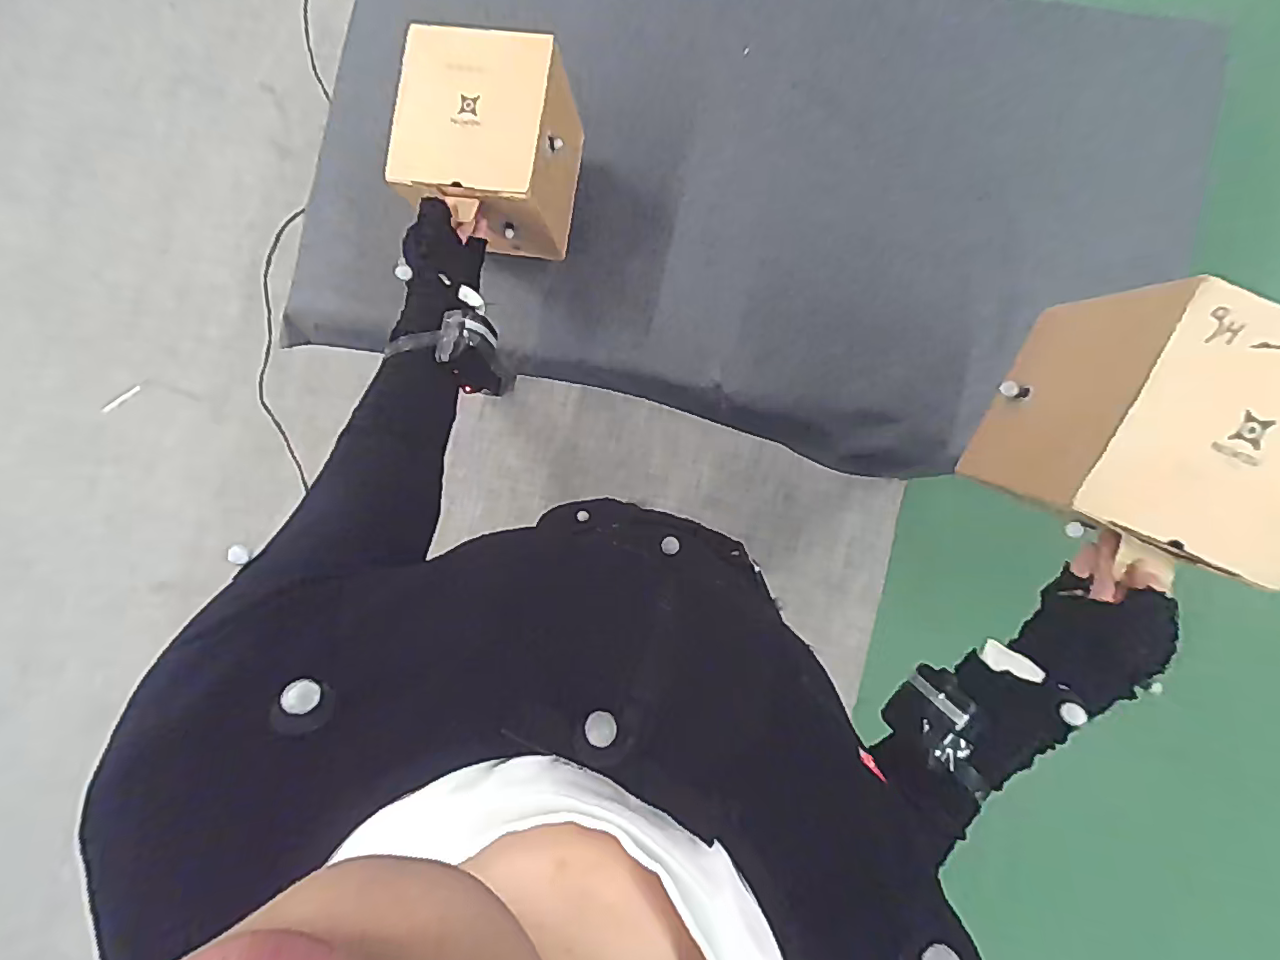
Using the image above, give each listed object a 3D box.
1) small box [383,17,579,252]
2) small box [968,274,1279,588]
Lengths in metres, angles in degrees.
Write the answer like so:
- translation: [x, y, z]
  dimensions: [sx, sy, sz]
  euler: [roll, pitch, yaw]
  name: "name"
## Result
- translation: [-0.177, -0.399, 0.654]
  dimensions: [0.168, 0.176, 0.179]
  euler: [9, 90, 5]
  name: "small box"
- translation: [0.420, -0.044, 0.457]
  dimensions: [0.168, 0.176, 0.179]
  euler: [23, 102, -1]
  name: "small box"
